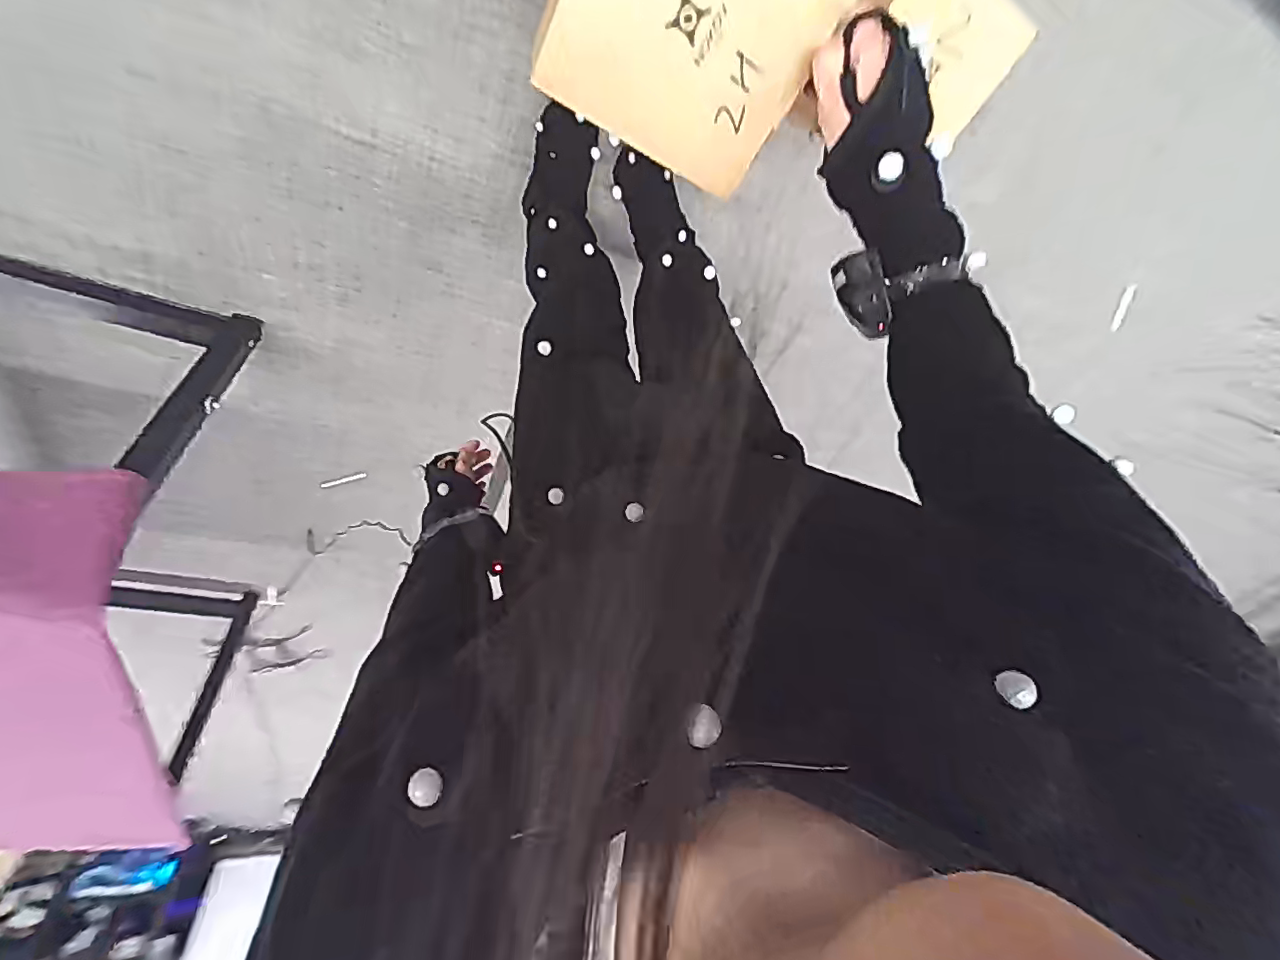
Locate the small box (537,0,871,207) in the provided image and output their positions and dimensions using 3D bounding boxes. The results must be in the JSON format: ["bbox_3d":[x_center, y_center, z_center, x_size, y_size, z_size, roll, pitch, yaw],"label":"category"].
[{"bbox_3d":[0.035,-0.353,0.410,0.179,0.176,0.168,17,134,-25],"label":"small box"}]

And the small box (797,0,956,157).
[{"bbox_3d":[0.285,-0.603,0.760,0.168,0.176,0.179,15,131,-24],"label":"small box"}]
